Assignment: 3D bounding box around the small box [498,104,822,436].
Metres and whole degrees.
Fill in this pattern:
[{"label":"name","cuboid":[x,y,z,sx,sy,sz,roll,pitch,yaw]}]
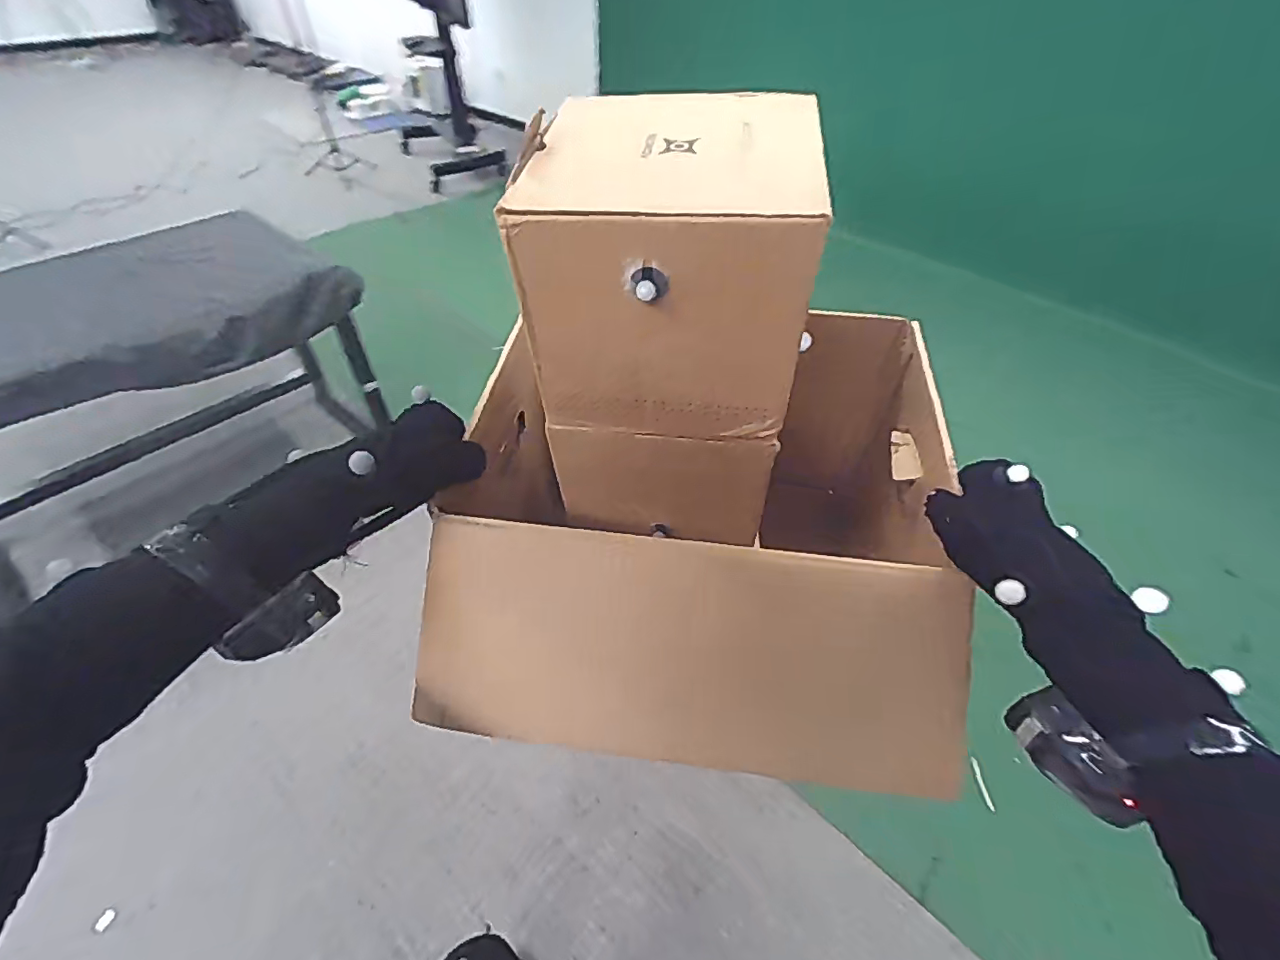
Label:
[{"label":"small box","cuboid":[0.021,-0.147,0.395,0.179,0.176,0.168,4,53,5]}]
